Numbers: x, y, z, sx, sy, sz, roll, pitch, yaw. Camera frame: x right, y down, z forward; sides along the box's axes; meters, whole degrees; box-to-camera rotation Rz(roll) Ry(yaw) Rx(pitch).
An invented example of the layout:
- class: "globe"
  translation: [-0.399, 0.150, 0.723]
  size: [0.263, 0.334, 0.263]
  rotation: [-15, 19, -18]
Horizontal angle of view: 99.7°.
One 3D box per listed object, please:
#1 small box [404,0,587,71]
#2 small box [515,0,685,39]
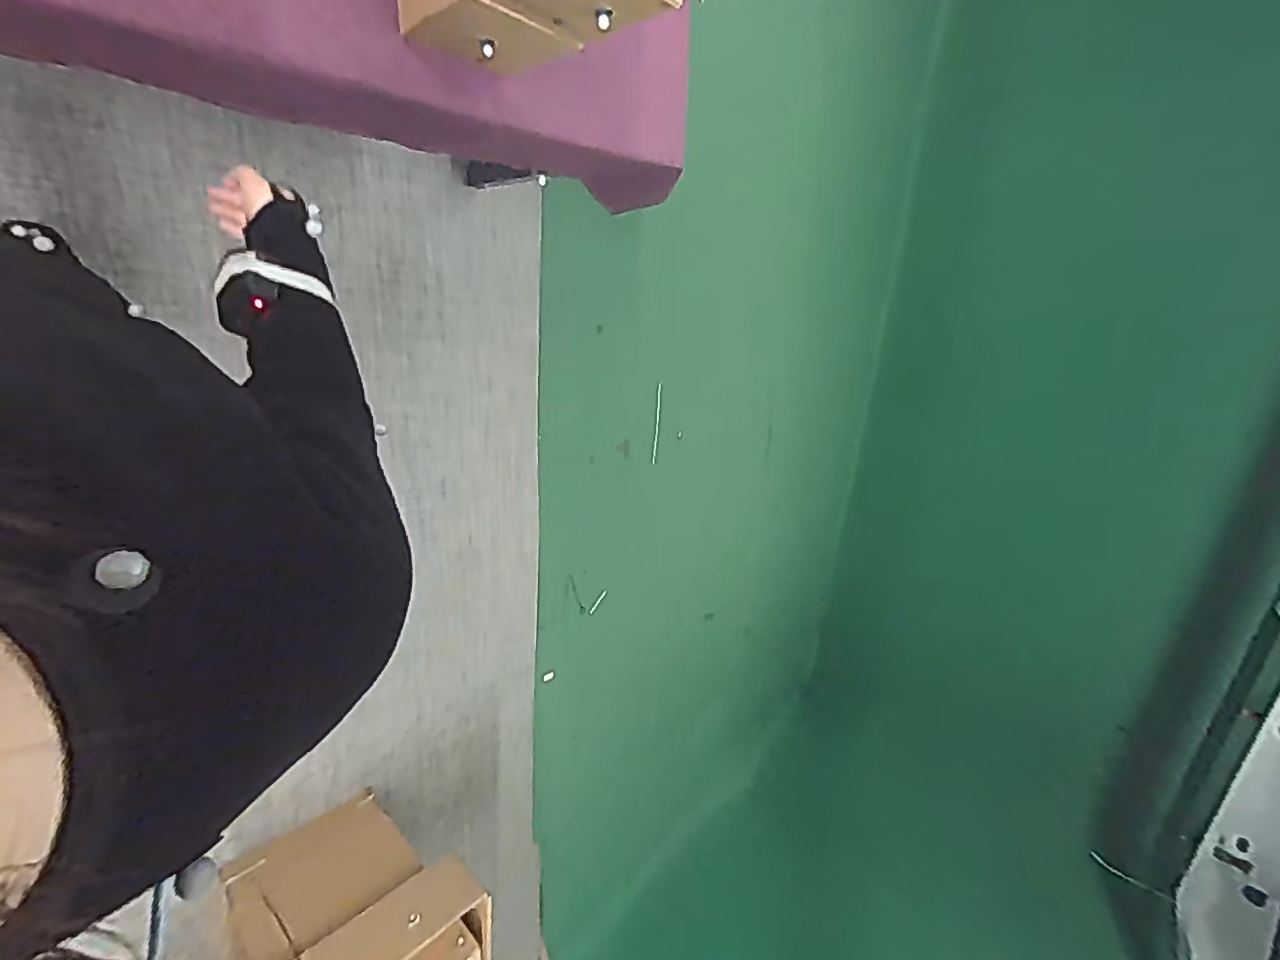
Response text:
- class: "small box"
  translation: [-0.179, -0.637, 0.658]
  size: [0.168, 0.176, 0.179]
  rotation: [-17, 117, -45]
- class: "small box"
  translation: [-0.060, -0.599, 0.553]
  size: [0.168, 0.176, 0.179]
  rotation: [-14, 115, -45]
